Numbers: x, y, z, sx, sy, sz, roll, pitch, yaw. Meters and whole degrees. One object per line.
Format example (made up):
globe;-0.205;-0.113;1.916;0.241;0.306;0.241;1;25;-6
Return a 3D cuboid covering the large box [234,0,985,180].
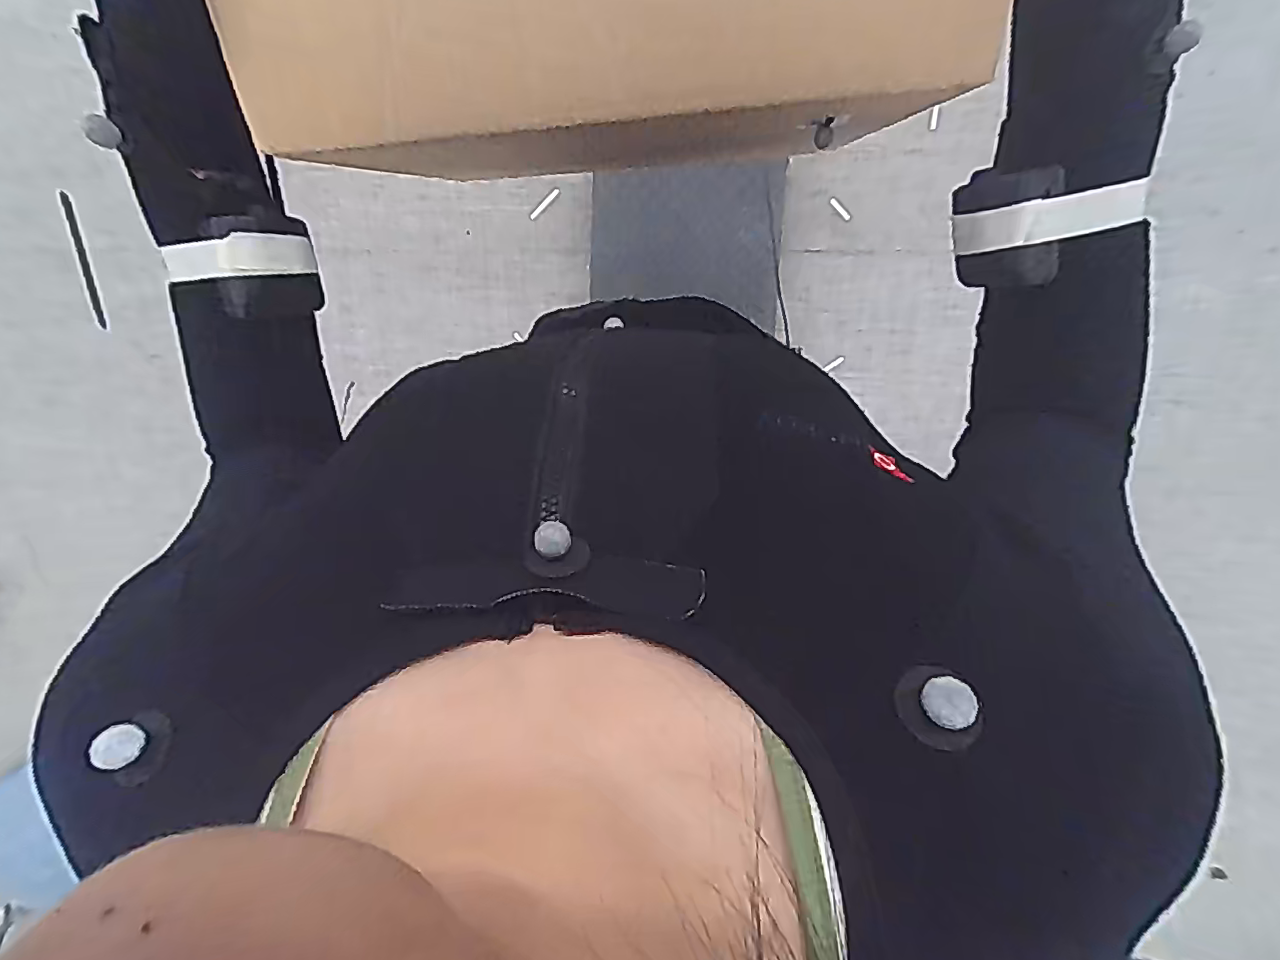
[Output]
large box;-0.019;-0.406;0.375;0.408;0.320;0.320;-2;116;6
